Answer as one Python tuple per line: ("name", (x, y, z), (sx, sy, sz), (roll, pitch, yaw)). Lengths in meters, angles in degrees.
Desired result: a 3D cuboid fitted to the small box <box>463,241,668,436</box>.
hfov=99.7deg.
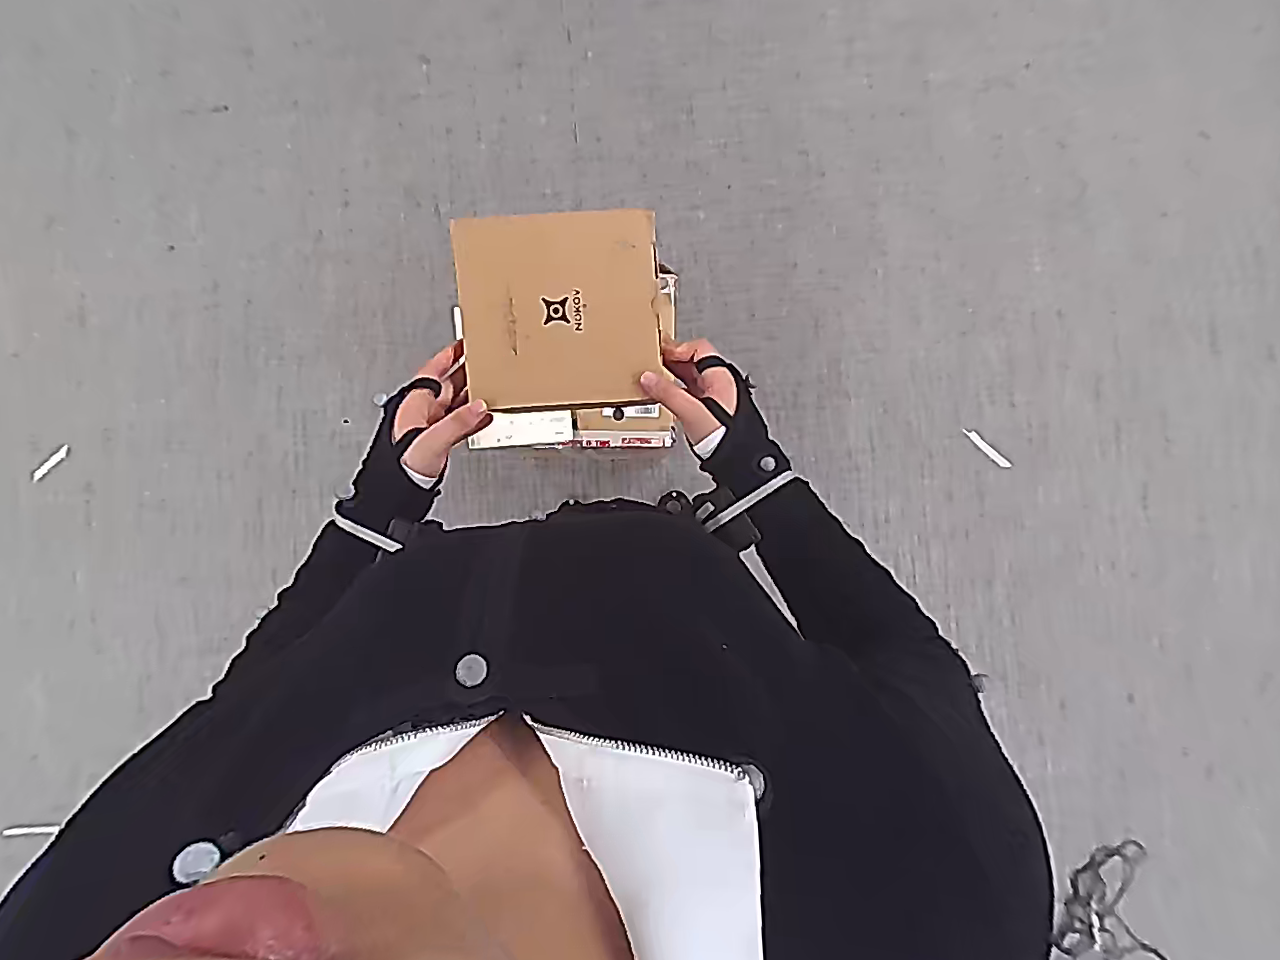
("small box", (-0.069, -0.136, 0.569), (0.179, 0.176, 0.168), (-5, 95, -1))
